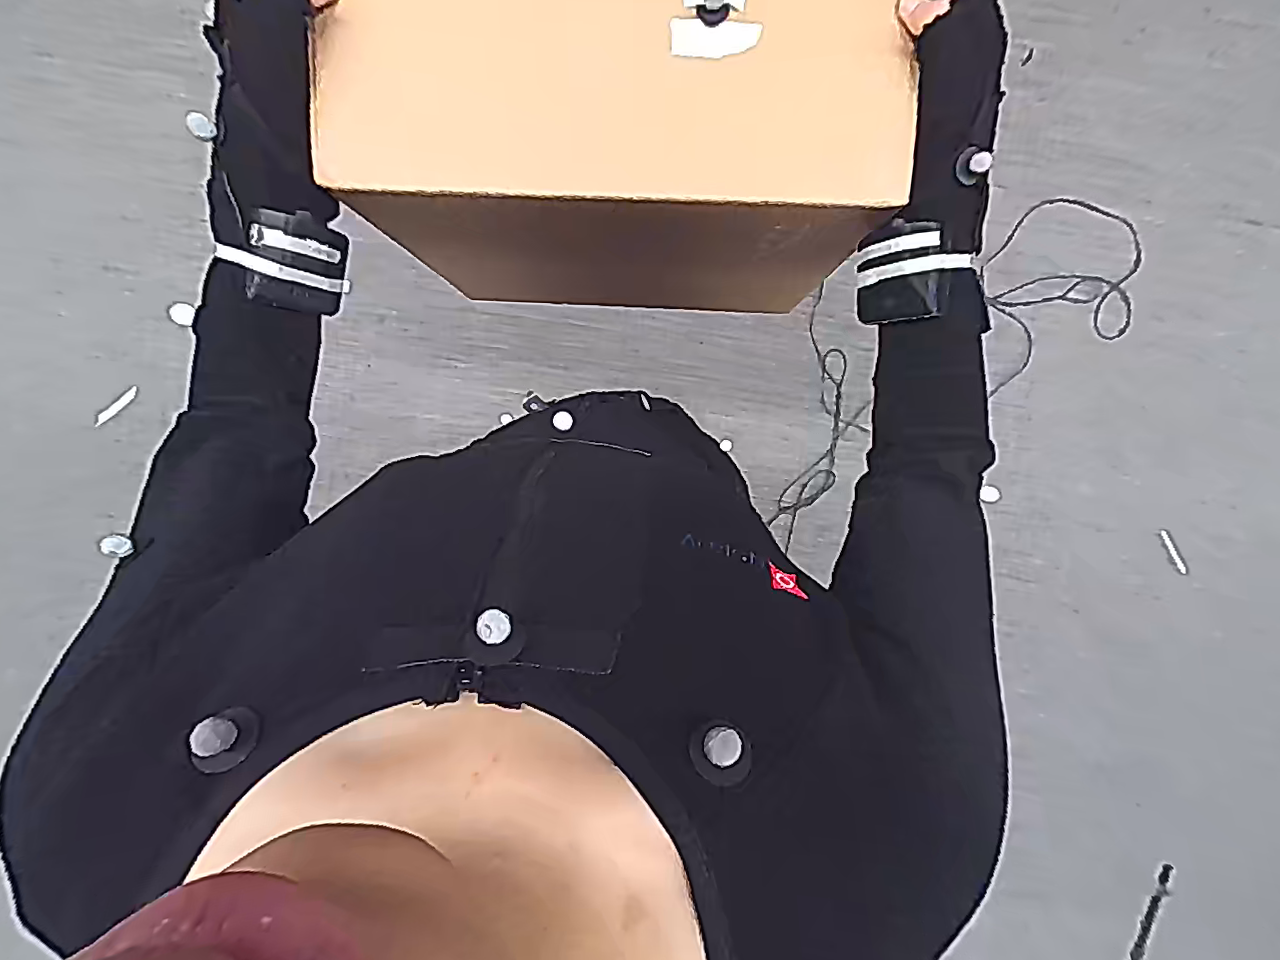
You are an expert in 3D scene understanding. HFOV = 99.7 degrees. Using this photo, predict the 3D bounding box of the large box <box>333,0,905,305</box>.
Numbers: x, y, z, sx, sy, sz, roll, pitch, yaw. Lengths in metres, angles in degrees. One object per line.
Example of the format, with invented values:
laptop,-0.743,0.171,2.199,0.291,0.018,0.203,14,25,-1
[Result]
large box,-0.013,-0.364,0.522,0.408,0.320,0.320,2,94,1
